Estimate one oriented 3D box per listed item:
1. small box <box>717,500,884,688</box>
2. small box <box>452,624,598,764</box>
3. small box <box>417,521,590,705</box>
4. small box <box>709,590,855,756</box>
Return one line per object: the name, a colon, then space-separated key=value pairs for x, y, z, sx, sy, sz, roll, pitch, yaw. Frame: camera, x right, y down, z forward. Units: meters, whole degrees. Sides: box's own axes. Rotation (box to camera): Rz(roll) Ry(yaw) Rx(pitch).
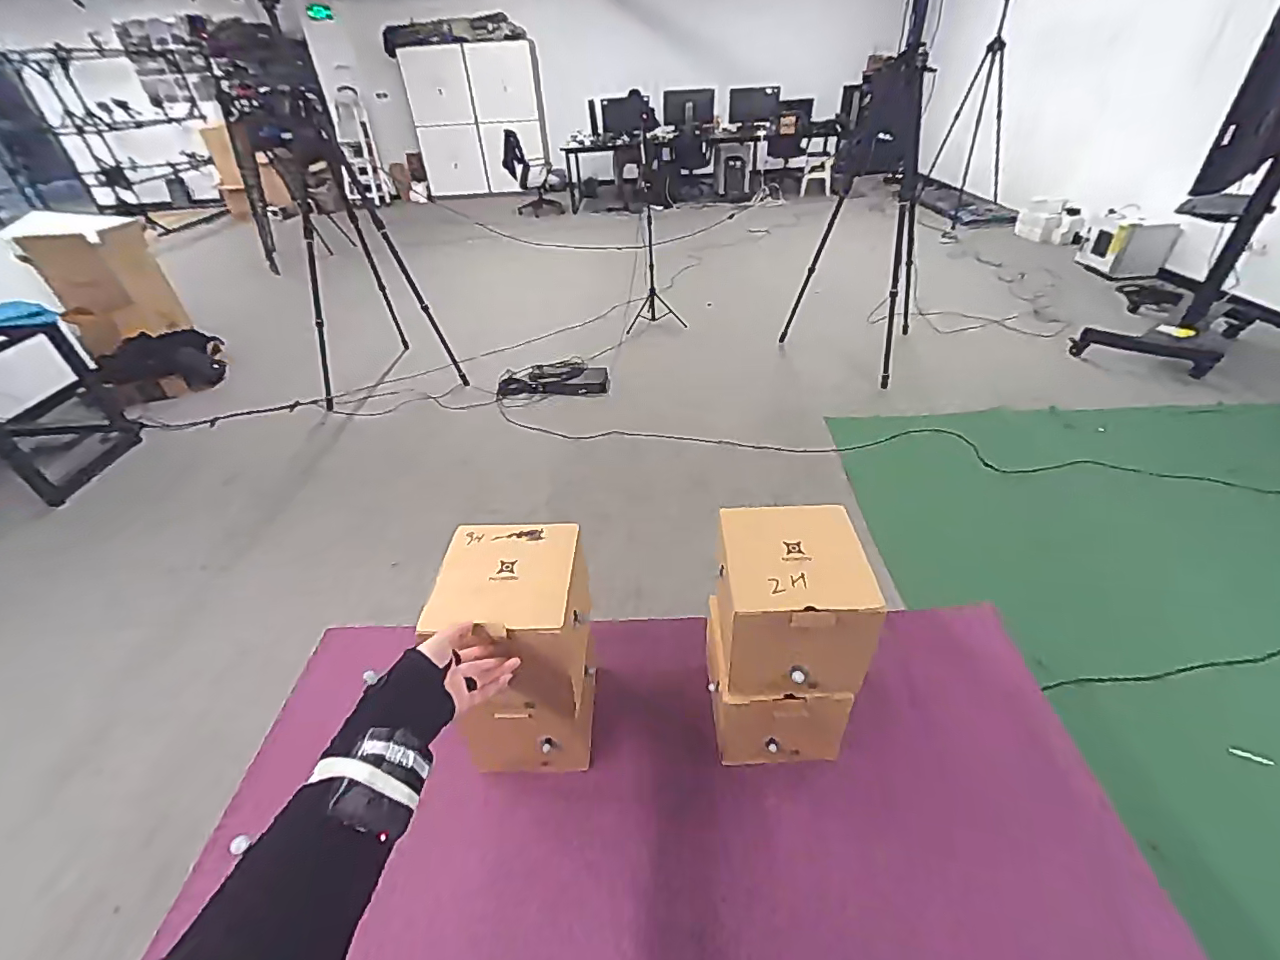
small box: x=0.190 y=0.146 z=0.701 sx=0.168 sy=0.176 sz=0.179 roll=-3 pitch=39 yaw=3
small box: x=-0.156 y=0.302 z=0.805 sx=0.168 sy=0.176 sz=0.179 roll=-2 pitch=38 yaw=2
small box: x=-0.158 y=0.173 z=0.702 sx=0.168 sy=0.176 sz=0.179 roll=-1 pitch=38 yaw=2
small box: x=0.193 y=0.279 z=0.798 sx=0.168 sy=0.176 sz=0.179 roll=-4 pitch=39 yaw=1
